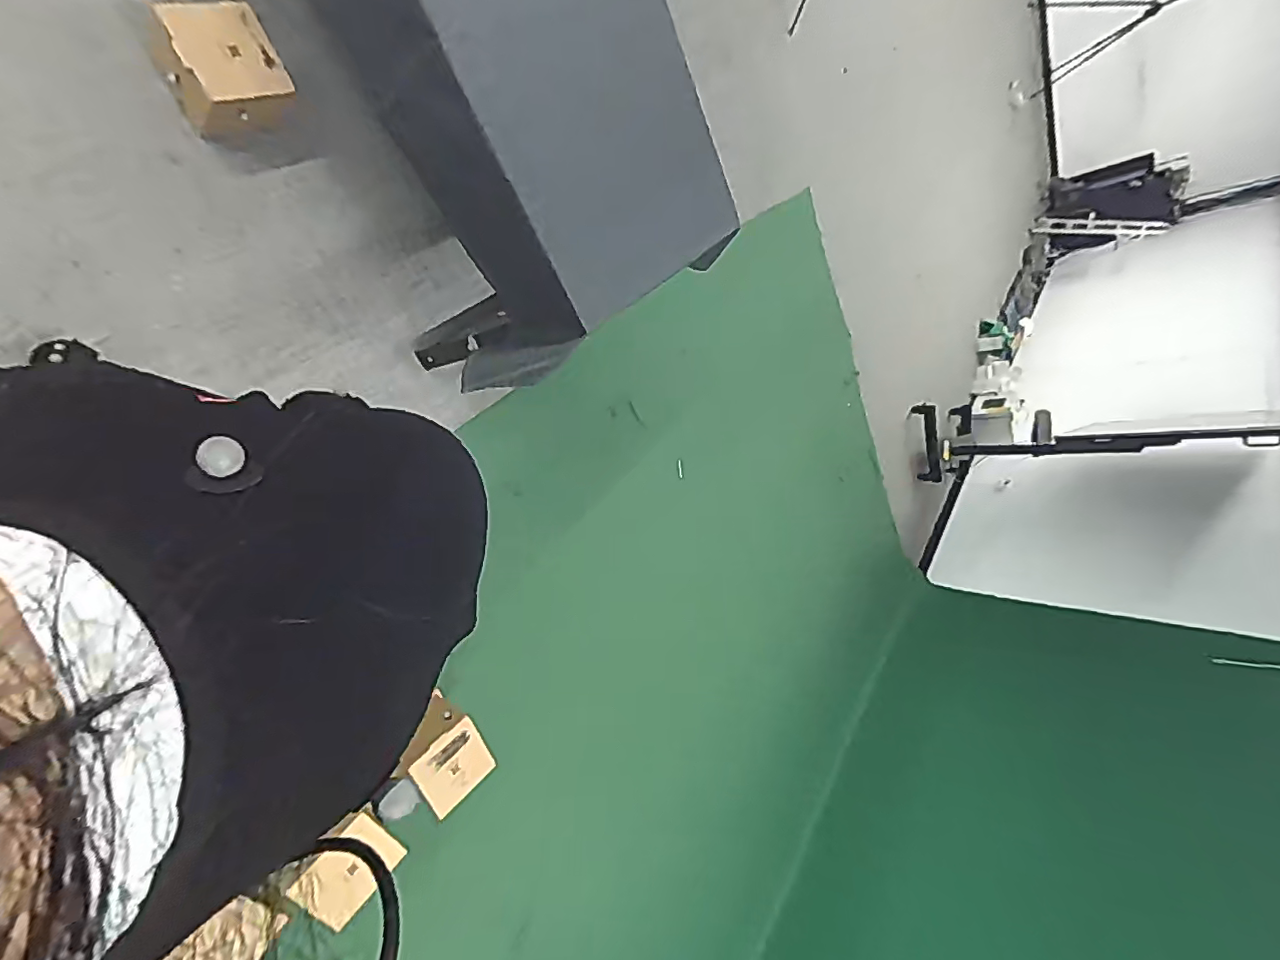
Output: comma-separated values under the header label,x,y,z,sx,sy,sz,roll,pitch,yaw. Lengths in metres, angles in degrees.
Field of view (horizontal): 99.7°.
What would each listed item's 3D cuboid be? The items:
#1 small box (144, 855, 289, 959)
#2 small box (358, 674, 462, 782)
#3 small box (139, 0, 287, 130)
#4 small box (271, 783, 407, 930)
label,x,y,z,sx,sy,sz,roll,pitch,yaw
small box,-0.905,0.951,1.158,0.168,0.176,0.179,-52,125,-31
small box,-0.614,0.650,1.442,0.168,0.176,0.179,-35,114,-40
small box,-0.879,-0.855,1.116,0.179,0.176,0.168,-42,119,-36
small box,-0.655,0.804,1.173,0.179,0.176,0.168,-46,122,-34
